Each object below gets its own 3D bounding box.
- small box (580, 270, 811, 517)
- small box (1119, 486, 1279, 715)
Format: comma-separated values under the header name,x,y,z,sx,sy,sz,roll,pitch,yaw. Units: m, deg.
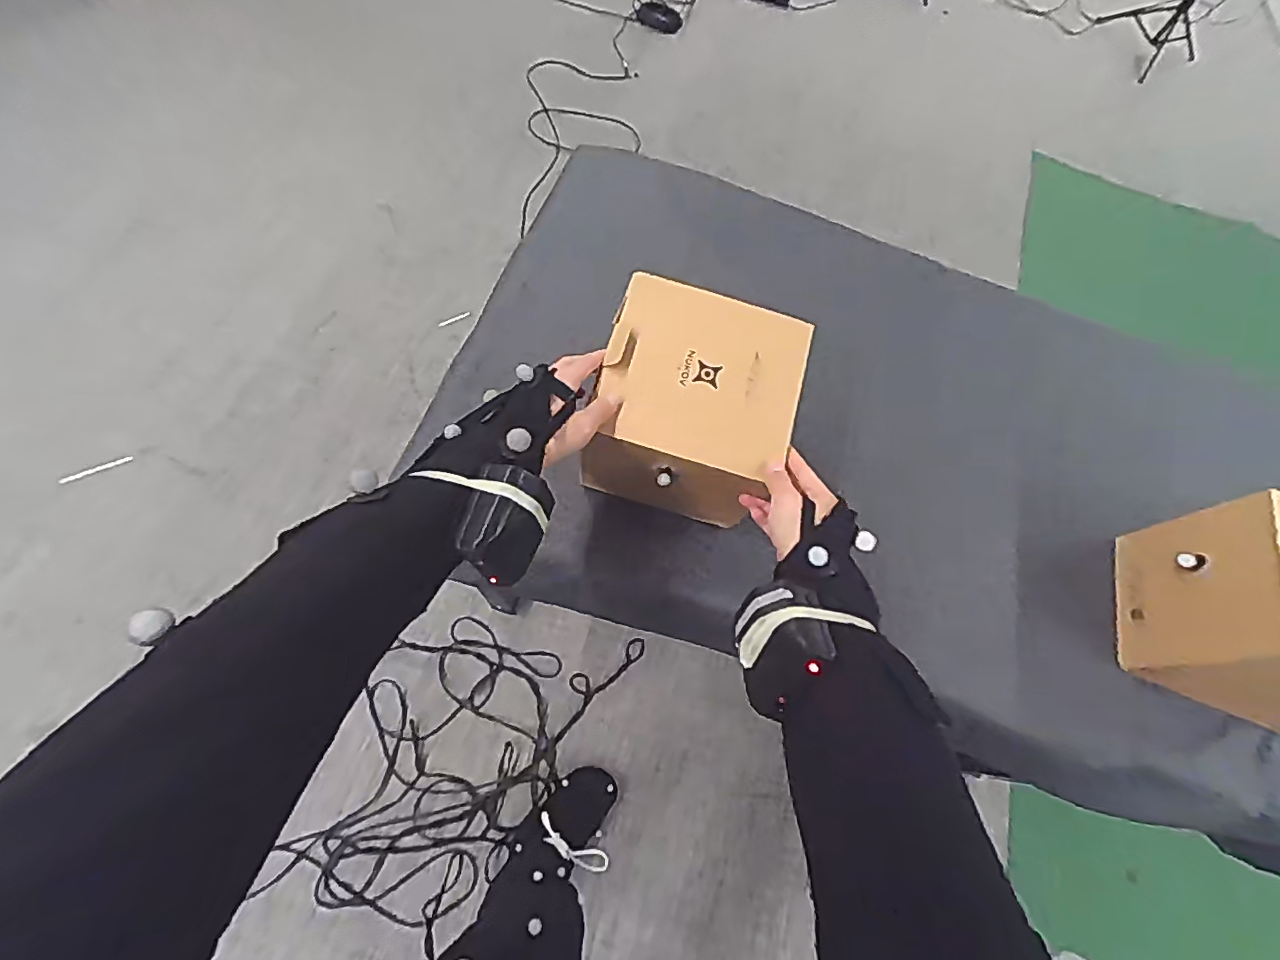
name,x,y,z,sx,sy,sz,roll,pitch,yaw
small box,0.046,-0.073,0.546,0.179,0.176,0.168,16,73,-1
small box,0.644,0.134,0.556,0.179,0.176,0.168,21,66,1
